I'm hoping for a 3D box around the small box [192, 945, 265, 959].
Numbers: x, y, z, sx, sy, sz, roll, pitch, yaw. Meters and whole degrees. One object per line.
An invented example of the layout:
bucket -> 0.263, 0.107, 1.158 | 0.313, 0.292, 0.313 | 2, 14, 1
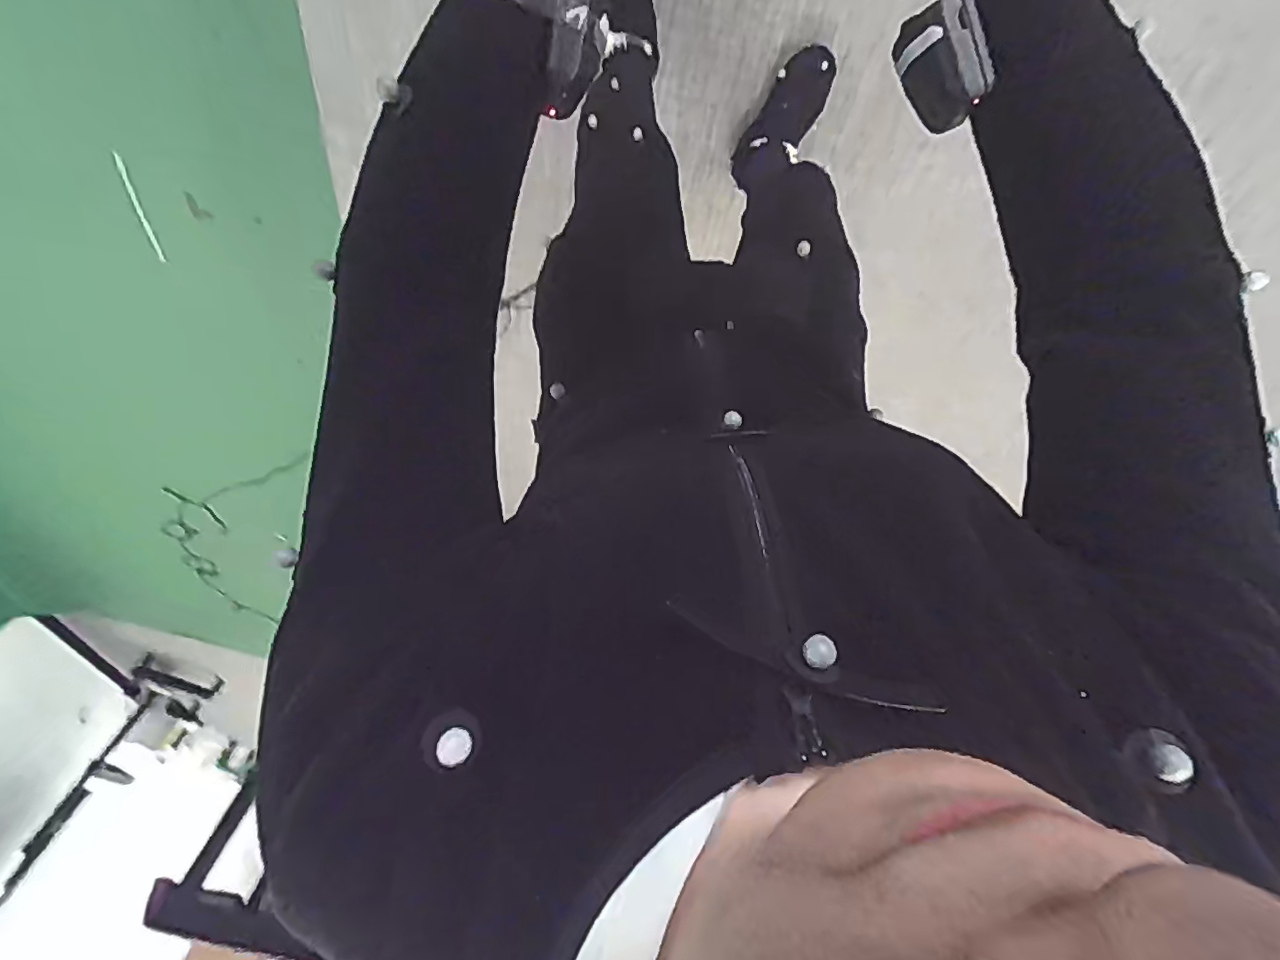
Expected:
small box -> -1.155, 1.398, 1.477 | 0.179, 0.176, 0.168 | 16, 134, -3
